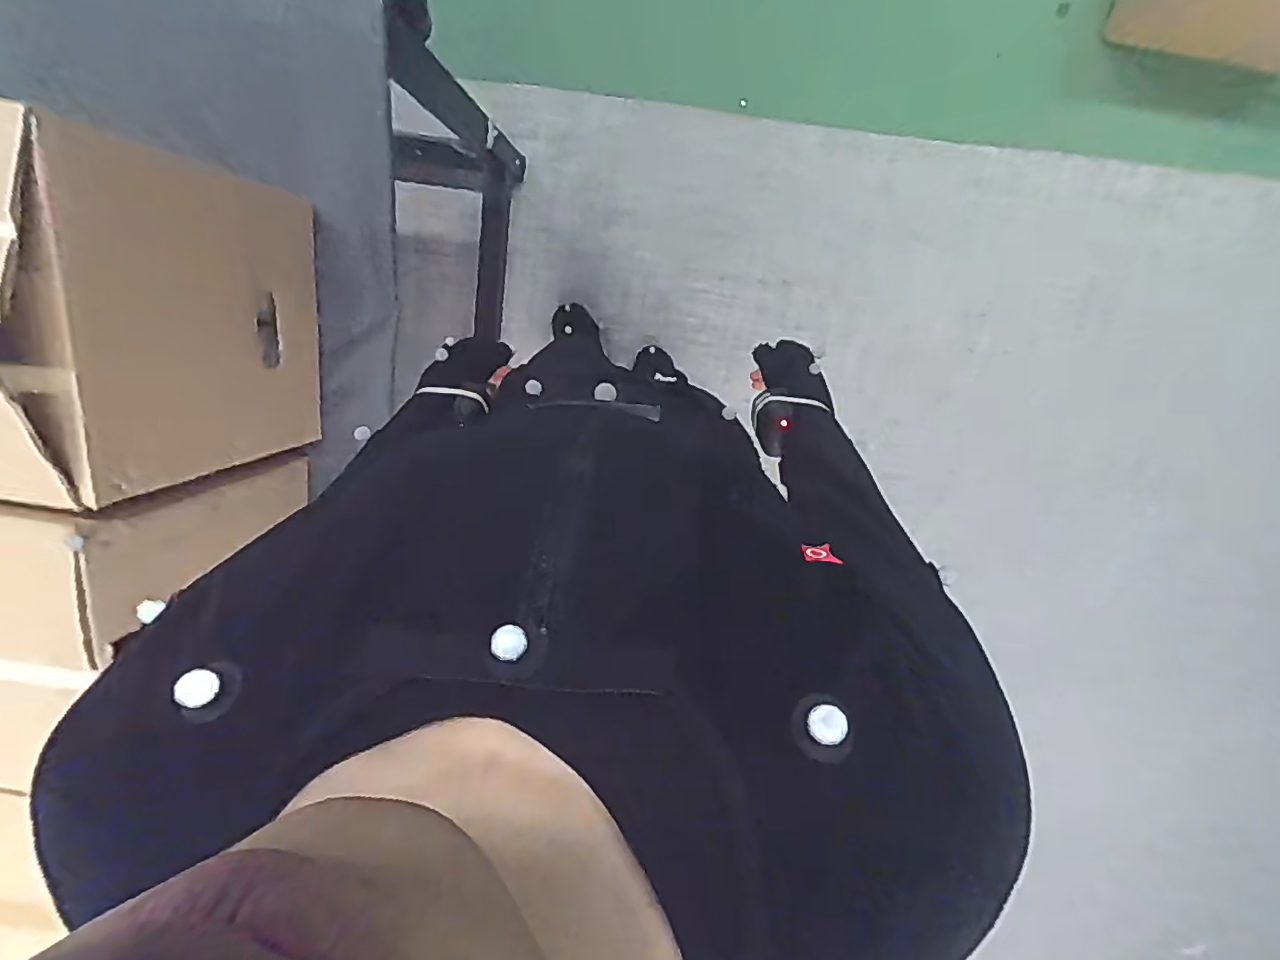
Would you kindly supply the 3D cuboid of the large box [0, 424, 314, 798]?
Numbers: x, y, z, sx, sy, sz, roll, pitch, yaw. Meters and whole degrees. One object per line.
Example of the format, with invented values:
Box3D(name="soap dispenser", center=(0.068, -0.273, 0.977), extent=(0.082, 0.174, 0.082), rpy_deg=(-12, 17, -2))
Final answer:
Box3D(name="large box", center=(-0.691, 0.120, 0.659), extent=(0.408, 0.320, 0.320), rpy_deg=(7, 106, 1))
